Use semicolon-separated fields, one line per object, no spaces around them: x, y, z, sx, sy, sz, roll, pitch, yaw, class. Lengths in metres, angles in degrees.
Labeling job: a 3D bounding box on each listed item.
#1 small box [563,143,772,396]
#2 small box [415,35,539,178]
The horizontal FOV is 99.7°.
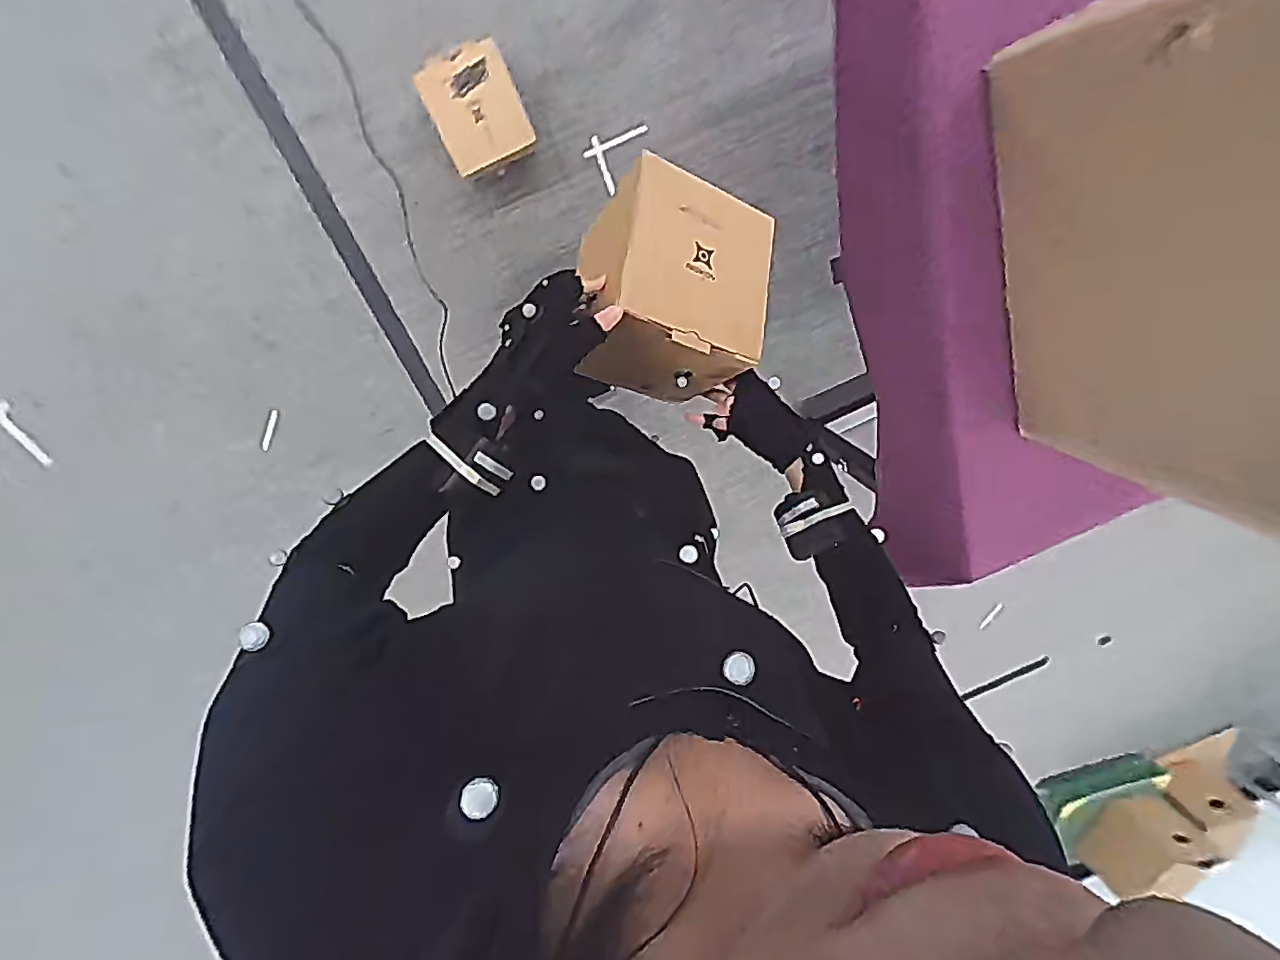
0.023;-0.210;0.600;0.168;0.176;0.179;13;75;-25;small box
-0.316;-0.727;1.074;0.168;0.176;0.179;-26;118;0;small box
